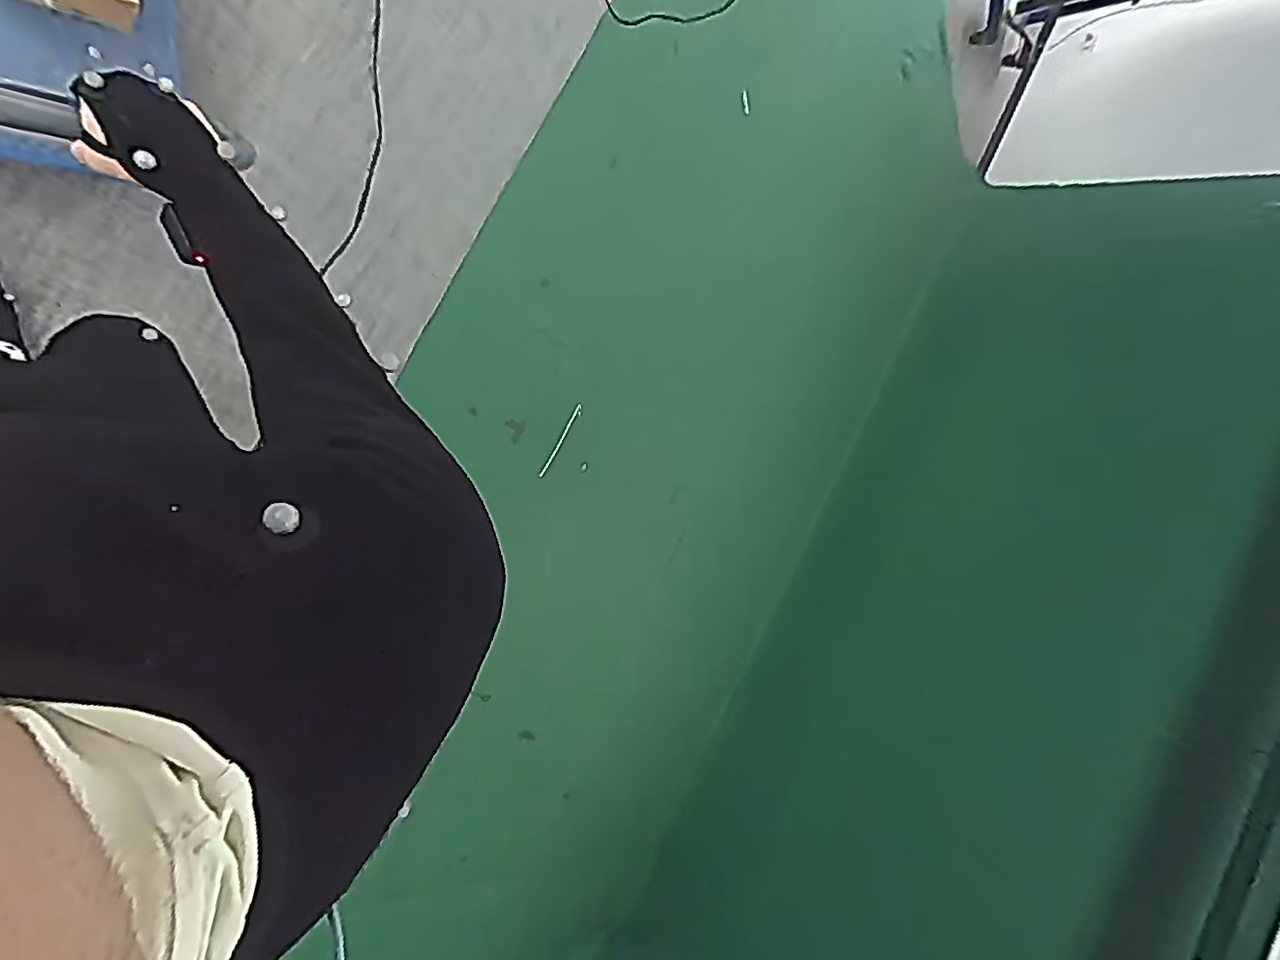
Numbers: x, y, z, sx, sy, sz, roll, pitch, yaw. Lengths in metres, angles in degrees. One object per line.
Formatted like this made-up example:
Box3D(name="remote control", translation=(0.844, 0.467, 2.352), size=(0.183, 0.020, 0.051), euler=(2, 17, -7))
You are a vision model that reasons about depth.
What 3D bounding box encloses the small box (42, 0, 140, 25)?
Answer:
Box3D(name="small box", translation=(-0.861, -0.815, 0.786), size=(0.168, 0.176, 0.179), euler=(-12, 117, -45))
